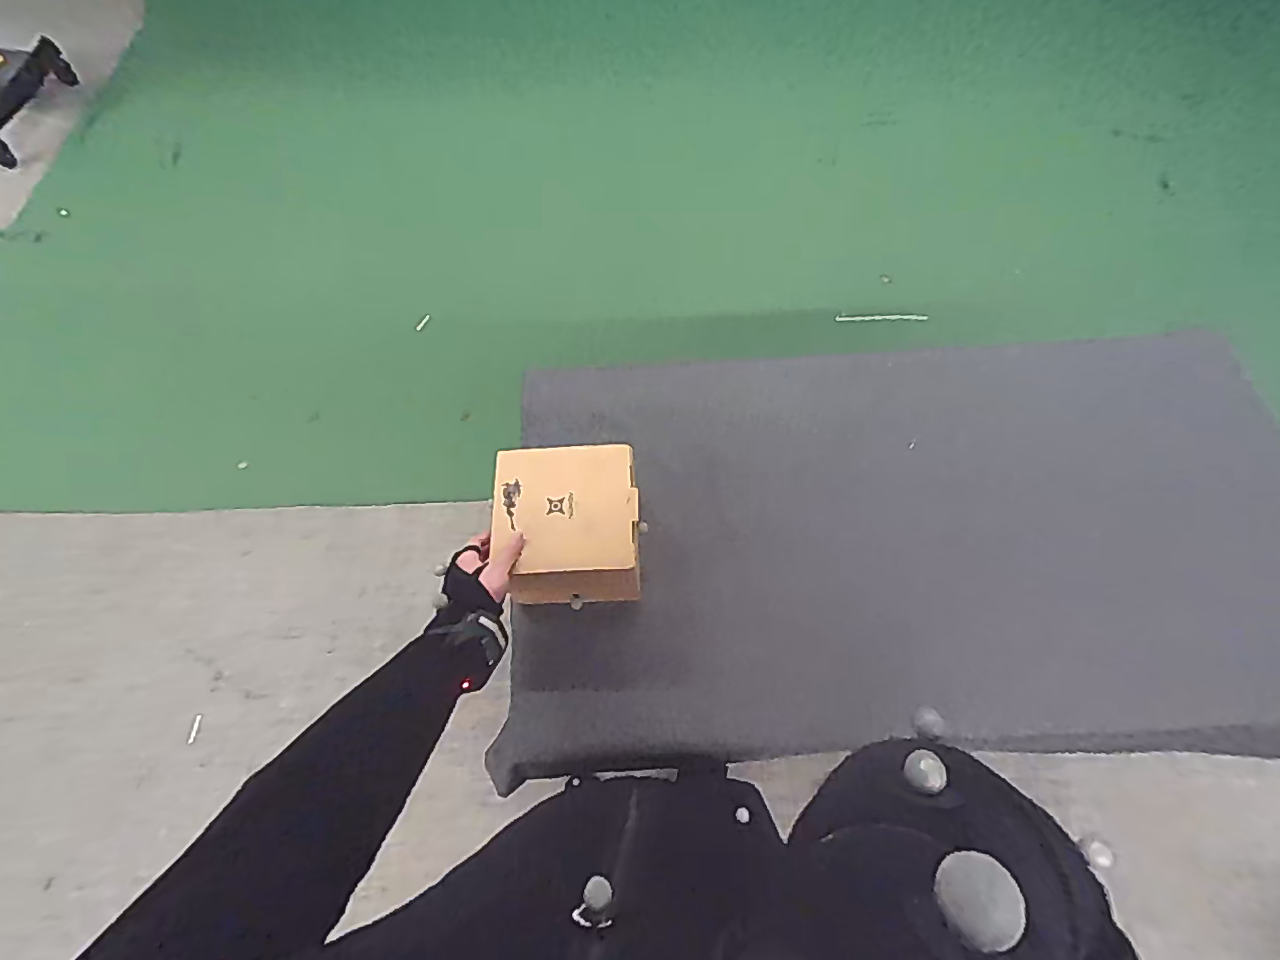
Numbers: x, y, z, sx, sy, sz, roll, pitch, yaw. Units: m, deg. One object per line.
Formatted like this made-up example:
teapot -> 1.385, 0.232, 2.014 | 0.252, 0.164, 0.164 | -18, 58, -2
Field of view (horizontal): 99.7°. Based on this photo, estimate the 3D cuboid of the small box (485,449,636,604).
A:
small box -> -0.095, 0.069, 0.731 | 0.179, 0.176, 0.168 | -2, 65, 0
